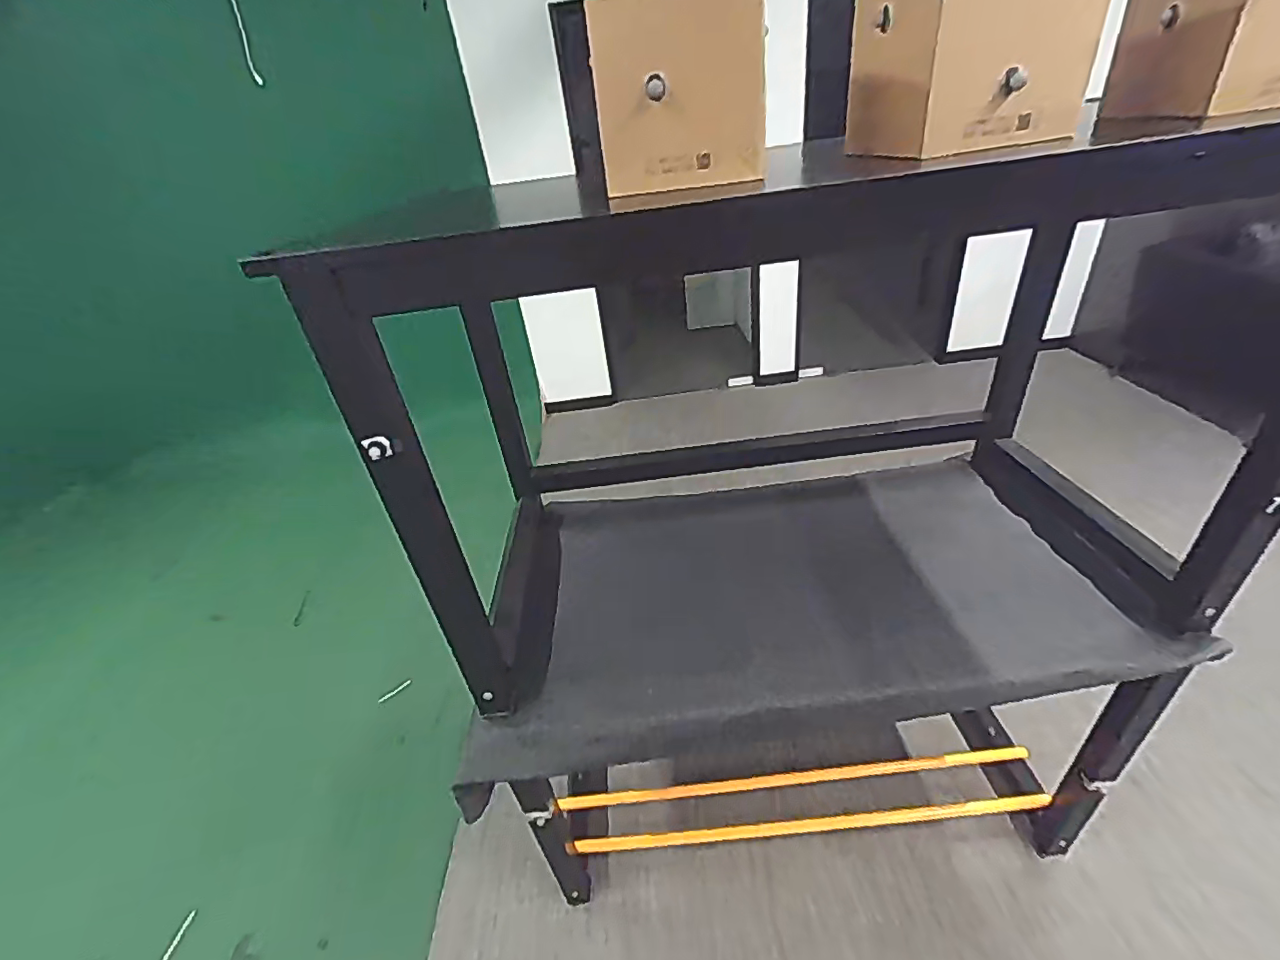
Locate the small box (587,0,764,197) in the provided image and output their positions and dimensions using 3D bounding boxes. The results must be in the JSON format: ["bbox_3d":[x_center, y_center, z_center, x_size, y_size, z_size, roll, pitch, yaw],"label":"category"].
[{"bbox_3d":[0.049,-0.424,0.607,0.168,0.176,0.179,-3,32,9],"label":"small box"}]

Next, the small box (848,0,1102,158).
[{"bbox_3d":[0.340,-0.452,0.581,0.168,0.176,0.179,-10,32,-2],"label":"small box"}]
